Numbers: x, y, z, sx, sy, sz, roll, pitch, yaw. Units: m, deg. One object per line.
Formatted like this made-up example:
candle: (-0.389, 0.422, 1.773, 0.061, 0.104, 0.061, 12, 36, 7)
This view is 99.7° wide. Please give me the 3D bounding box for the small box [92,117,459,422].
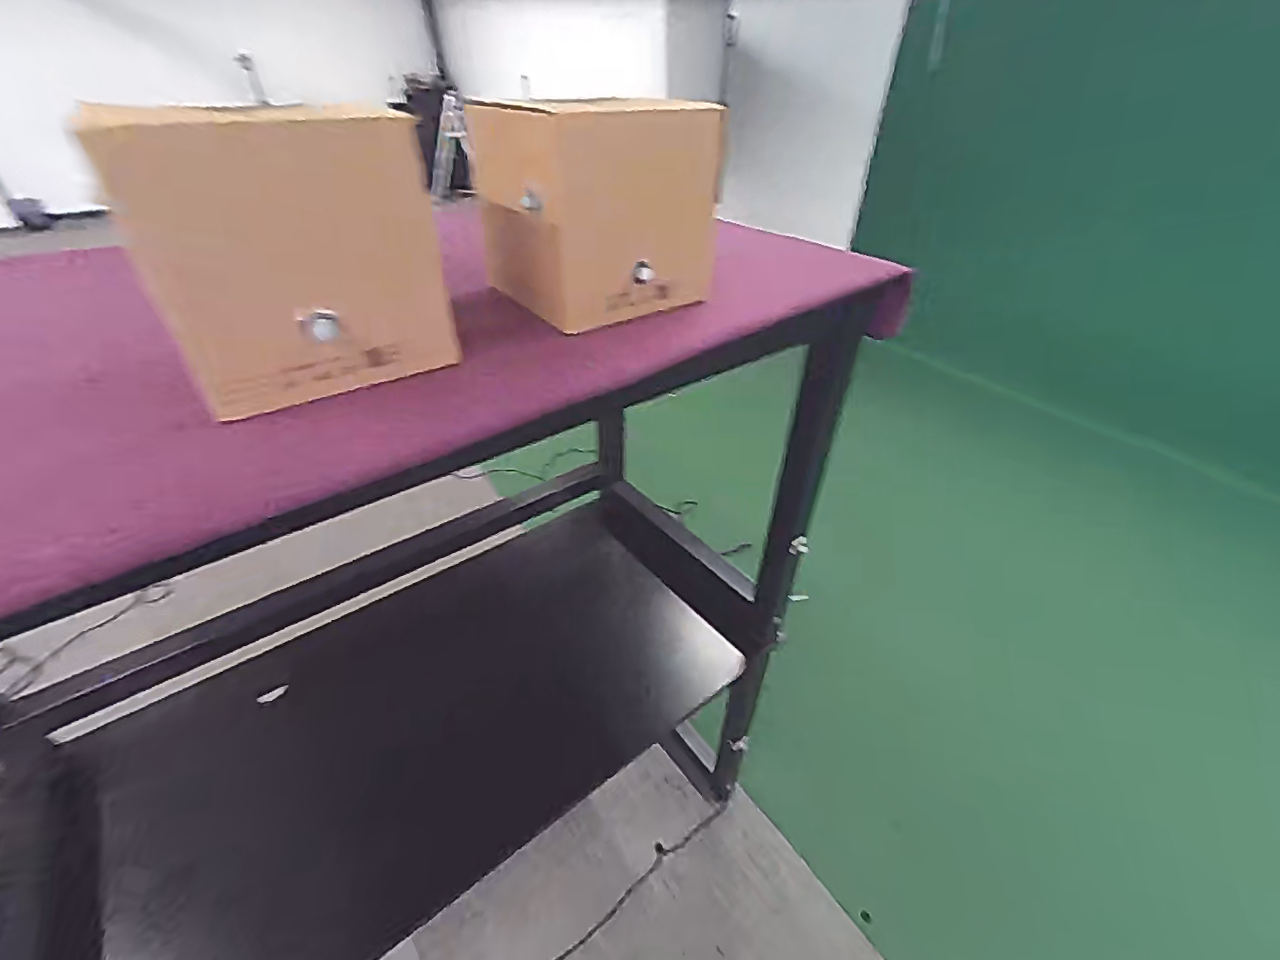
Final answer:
small box: (-0.257, -0.167, 0.407, 0.168, 0.176, 0.179, -25, 45, -29)
